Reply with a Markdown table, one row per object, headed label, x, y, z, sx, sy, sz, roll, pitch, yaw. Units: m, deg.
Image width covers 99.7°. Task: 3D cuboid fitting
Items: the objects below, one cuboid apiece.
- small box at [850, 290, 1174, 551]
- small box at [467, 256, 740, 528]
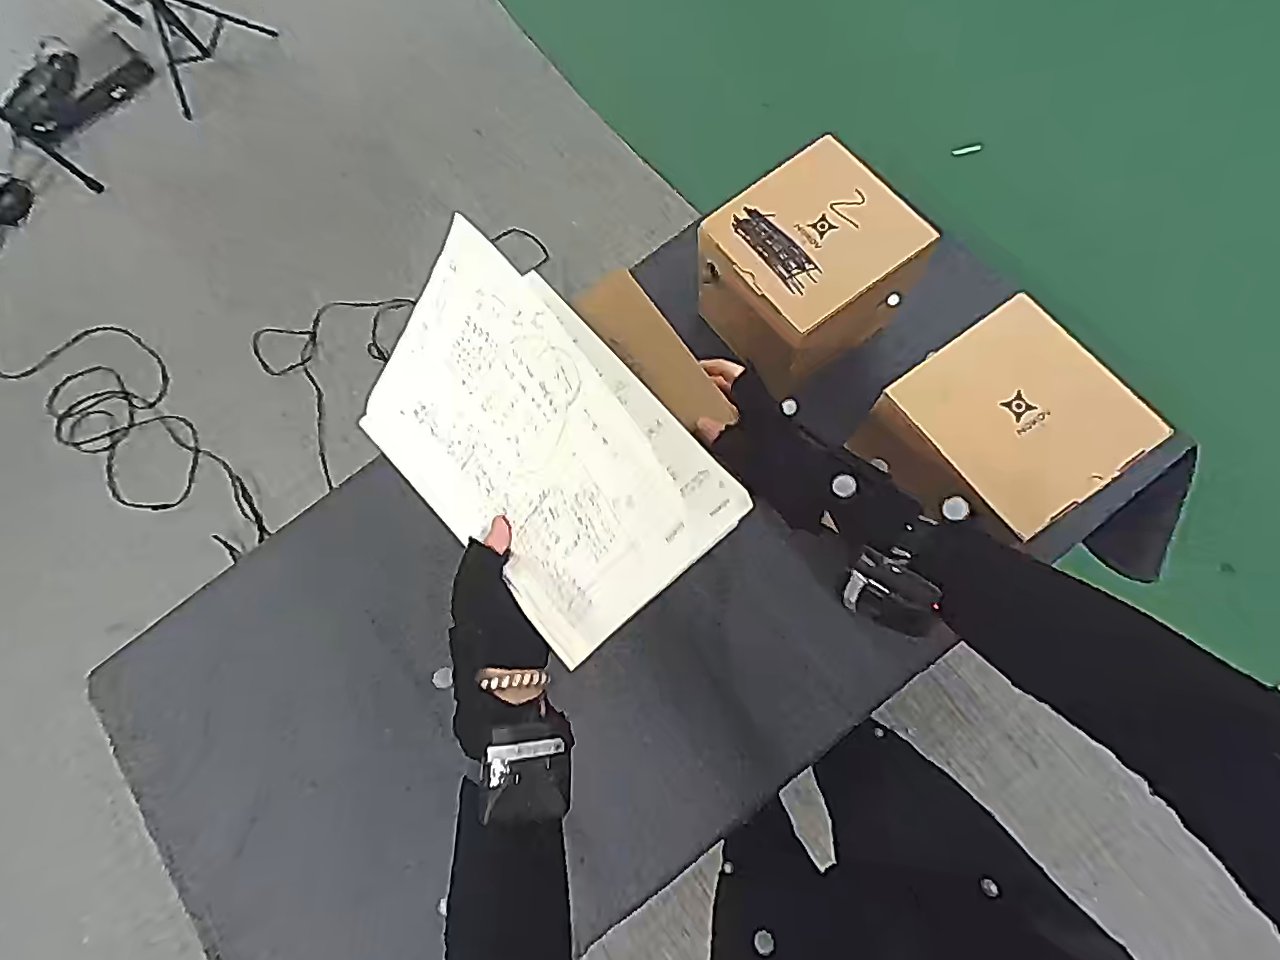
| label | x | y | z | sx | sy | sz | roll | pitch | yaw |
| --- | --- | --- | --- | --- | --- | --- | --- | --- | --- |
| small box | 0.348 | -0.046 | 0.552 | 0.168 | 0.176 | 0.179 | -34 | 75 | -3 |
| small box | -0.024 | -0.065 | 0.520 | 0.179 | 0.176 | 0.168 | -36 | 82 | 1 |
